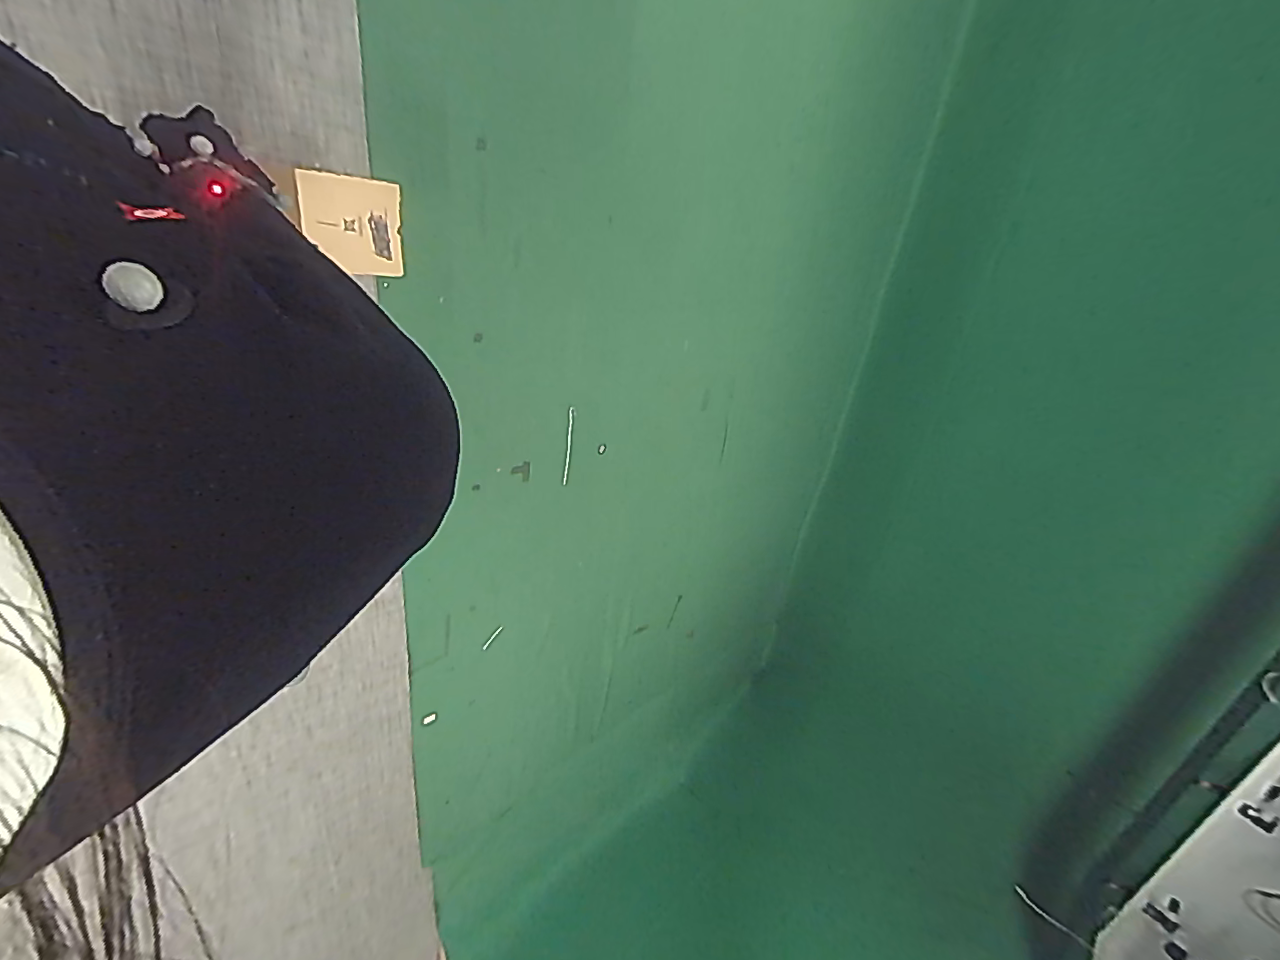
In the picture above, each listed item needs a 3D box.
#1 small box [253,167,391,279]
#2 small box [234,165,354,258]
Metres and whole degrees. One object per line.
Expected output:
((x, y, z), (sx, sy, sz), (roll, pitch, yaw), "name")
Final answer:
((-0.594, -0.483, 1.018), (0.179, 0.176, 0.168), (-16, 123, -44), "small box")
((-0.704, -0.549, 1.121), (0.179, 0.176, 0.168), (-19, 125, -42), "small box")
